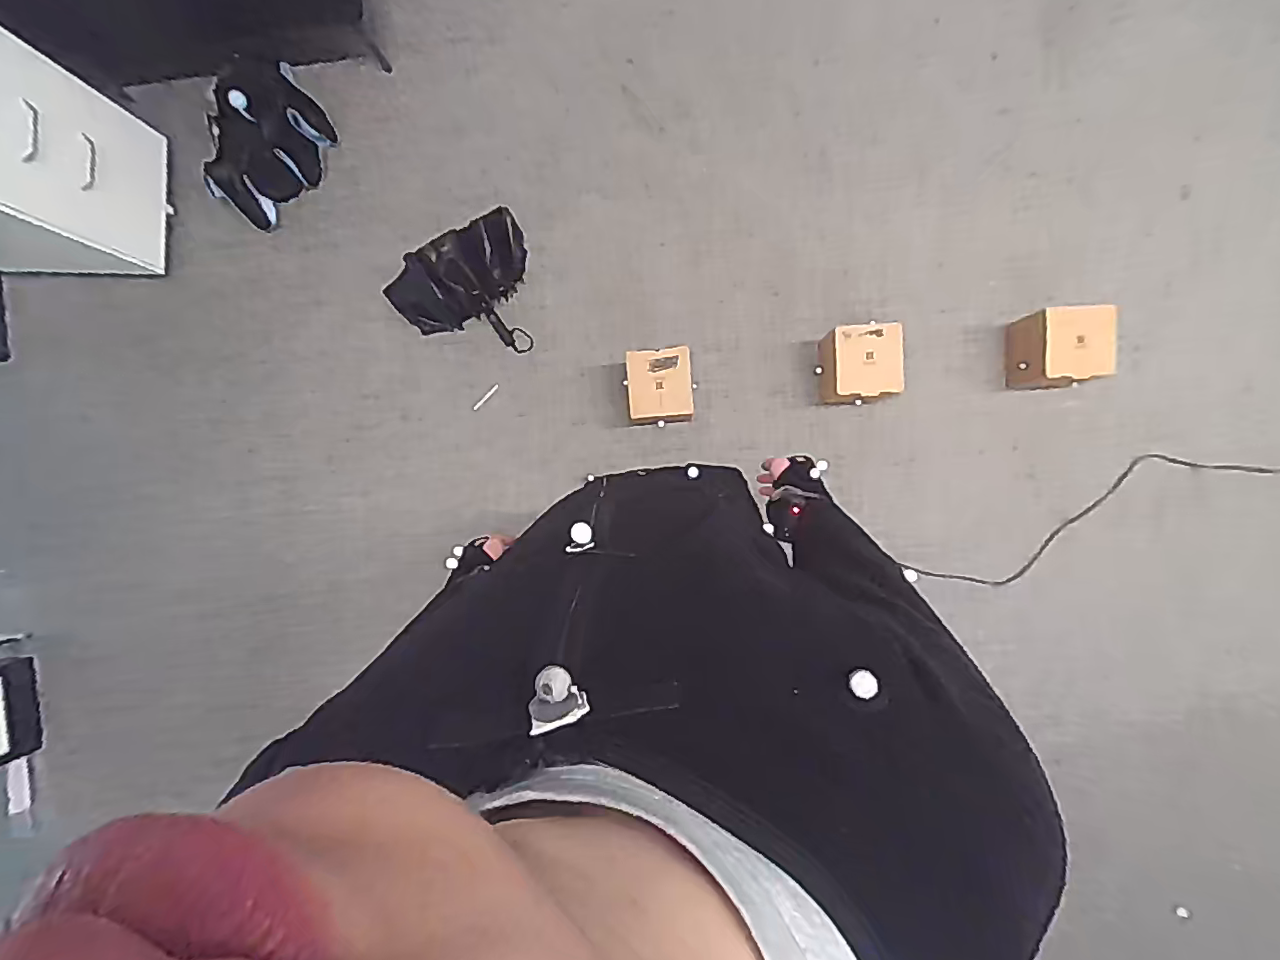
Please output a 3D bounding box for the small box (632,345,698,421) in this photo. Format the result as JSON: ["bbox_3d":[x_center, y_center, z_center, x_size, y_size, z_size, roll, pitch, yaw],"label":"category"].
[{"bbox_3d":[0.069,-0.260,1.481,0.168,0.176,0.179,-4,92,5],"label":"small box"}]

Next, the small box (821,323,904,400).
[{"bbox_3d":[0.588,-0.308,1.440,0.168,0.176,0.179,-1,92,5],"label":"small box"}]

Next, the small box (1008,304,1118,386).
[{"bbox_3d":[1.086,-0.341,1.399,0.168,0.176,0.179,-2,90,4],"label":"small box"}]
